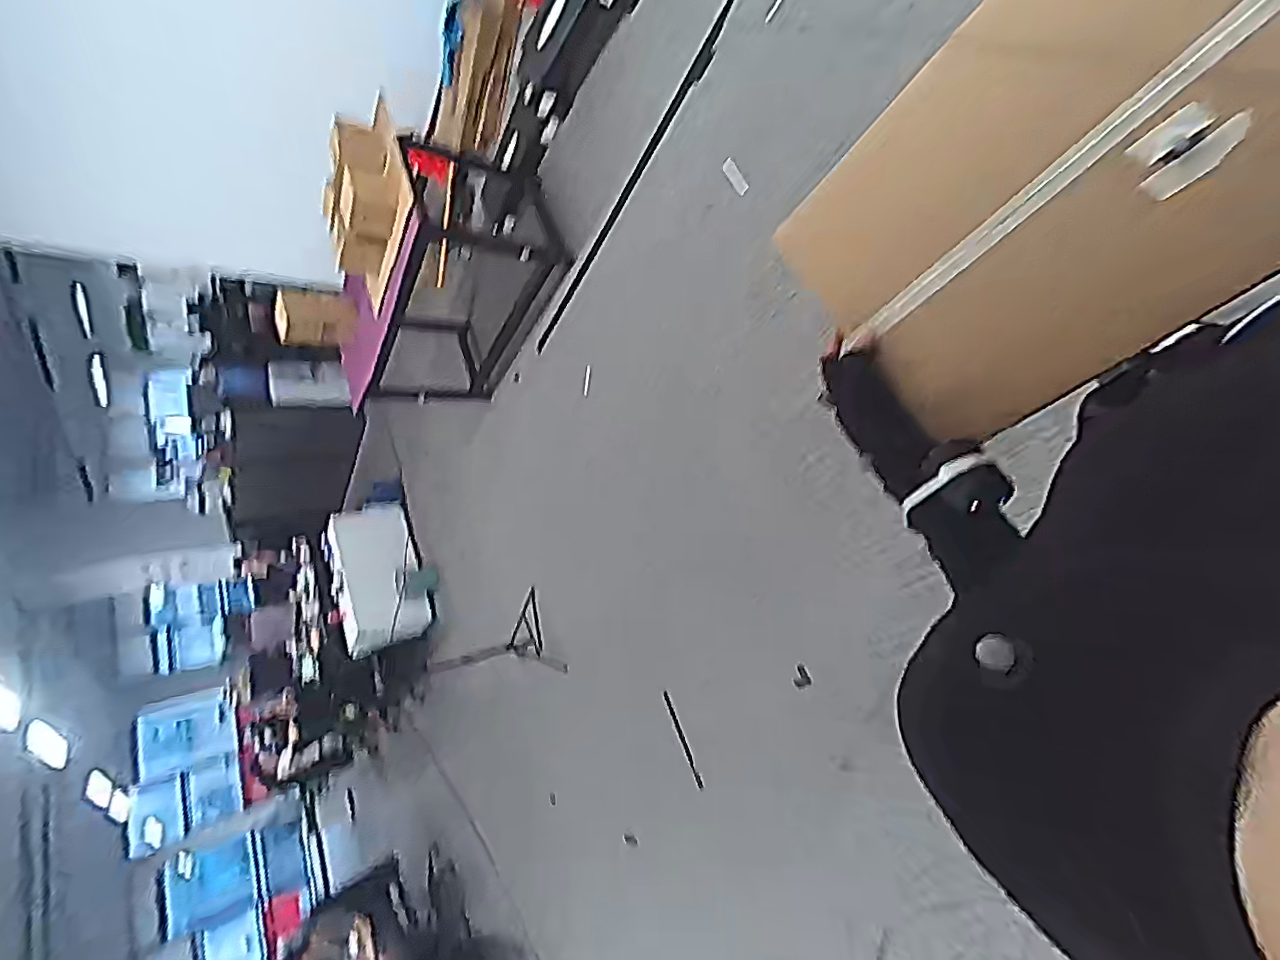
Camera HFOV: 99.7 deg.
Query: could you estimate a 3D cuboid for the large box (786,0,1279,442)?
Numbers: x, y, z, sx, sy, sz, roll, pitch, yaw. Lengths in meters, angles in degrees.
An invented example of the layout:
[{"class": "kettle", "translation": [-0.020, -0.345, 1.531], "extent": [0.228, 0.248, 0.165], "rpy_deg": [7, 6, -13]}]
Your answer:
[{"class": "large box", "translation": [0.449, -0.295, 0.578], "extent": [0.408, 0.320, 0.320], "rpy_deg": [-42, 75, 40]}]
